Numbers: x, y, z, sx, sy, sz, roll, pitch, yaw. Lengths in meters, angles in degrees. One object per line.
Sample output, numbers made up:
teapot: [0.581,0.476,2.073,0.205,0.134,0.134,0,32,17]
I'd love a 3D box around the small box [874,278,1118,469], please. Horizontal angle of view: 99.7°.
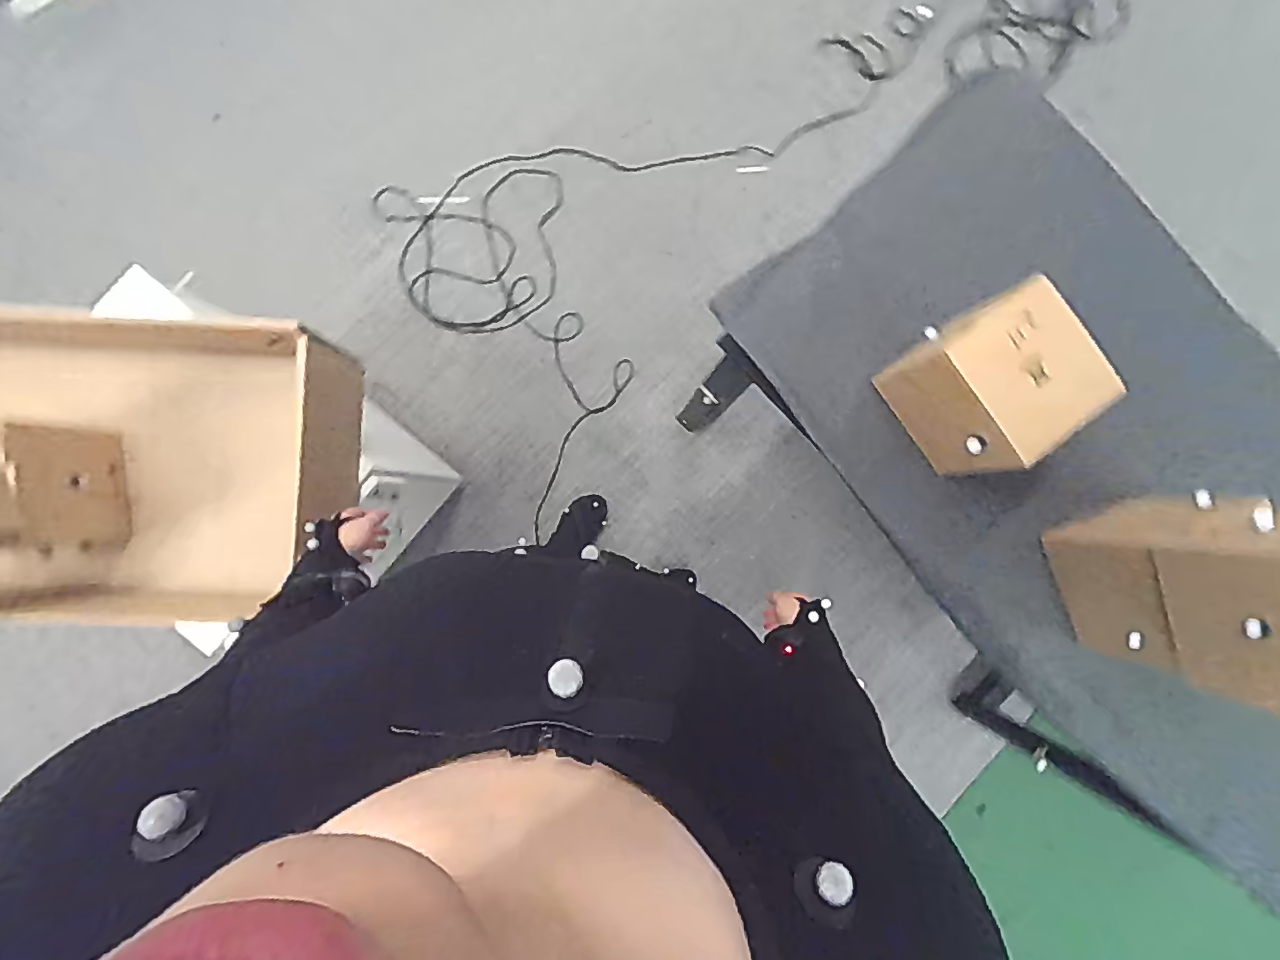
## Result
small box: [0.460,-0.128,0.727,0.168,0.176,0.179,-35,90,-5]
